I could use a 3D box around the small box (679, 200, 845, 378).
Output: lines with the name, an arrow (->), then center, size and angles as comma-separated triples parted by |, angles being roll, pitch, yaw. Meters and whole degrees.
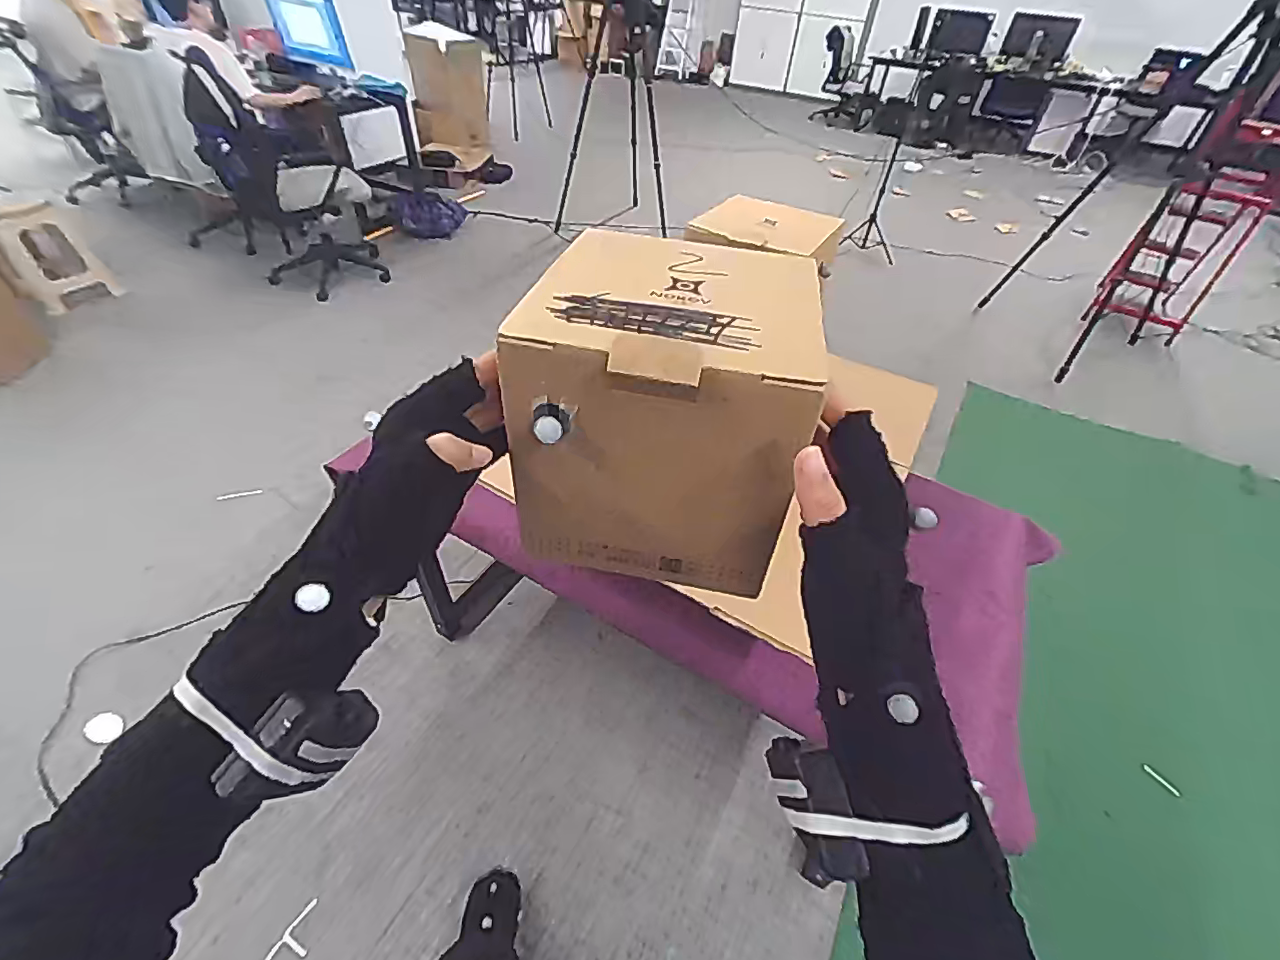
small box -> 0.167, -0.274, 0.774 | 0.168, 0.176, 0.179 | 24, 47, 19
